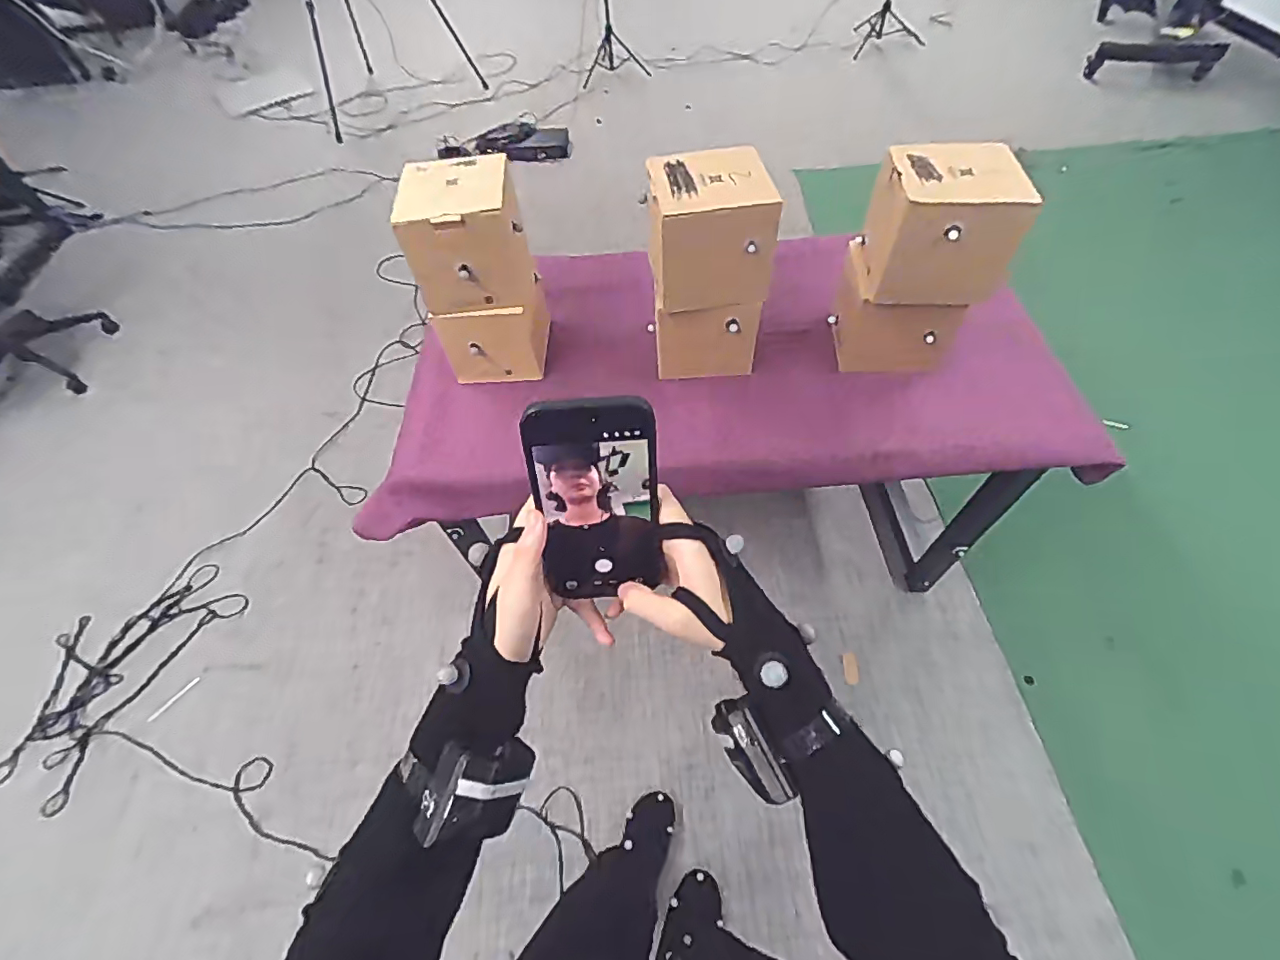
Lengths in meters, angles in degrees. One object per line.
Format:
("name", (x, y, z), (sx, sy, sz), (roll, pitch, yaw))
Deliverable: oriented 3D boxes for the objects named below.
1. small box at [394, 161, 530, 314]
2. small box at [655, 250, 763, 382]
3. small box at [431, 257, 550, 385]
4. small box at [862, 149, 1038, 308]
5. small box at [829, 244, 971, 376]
("small box", (-0.282, -0.393, 0.898), (0.168, 0.176, 0.179), (-7, 56, -1))
("small box", (0.119, -0.298, 1.002), (0.179, 0.176, 0.168), (-3, 56, 2))
("small box", (-0.271, -0.294, 1.029), (0.168, 0.176, 0.179), (-3, 56, 3))
("small box", (0.458, -0.385, 0.839), (0.179, 0.176, 0.168), (2, 56, 5))
("small box", (0.458, -0.305, 0.982), (0.179, 0.176, 0.168), (2, 55, 6))
